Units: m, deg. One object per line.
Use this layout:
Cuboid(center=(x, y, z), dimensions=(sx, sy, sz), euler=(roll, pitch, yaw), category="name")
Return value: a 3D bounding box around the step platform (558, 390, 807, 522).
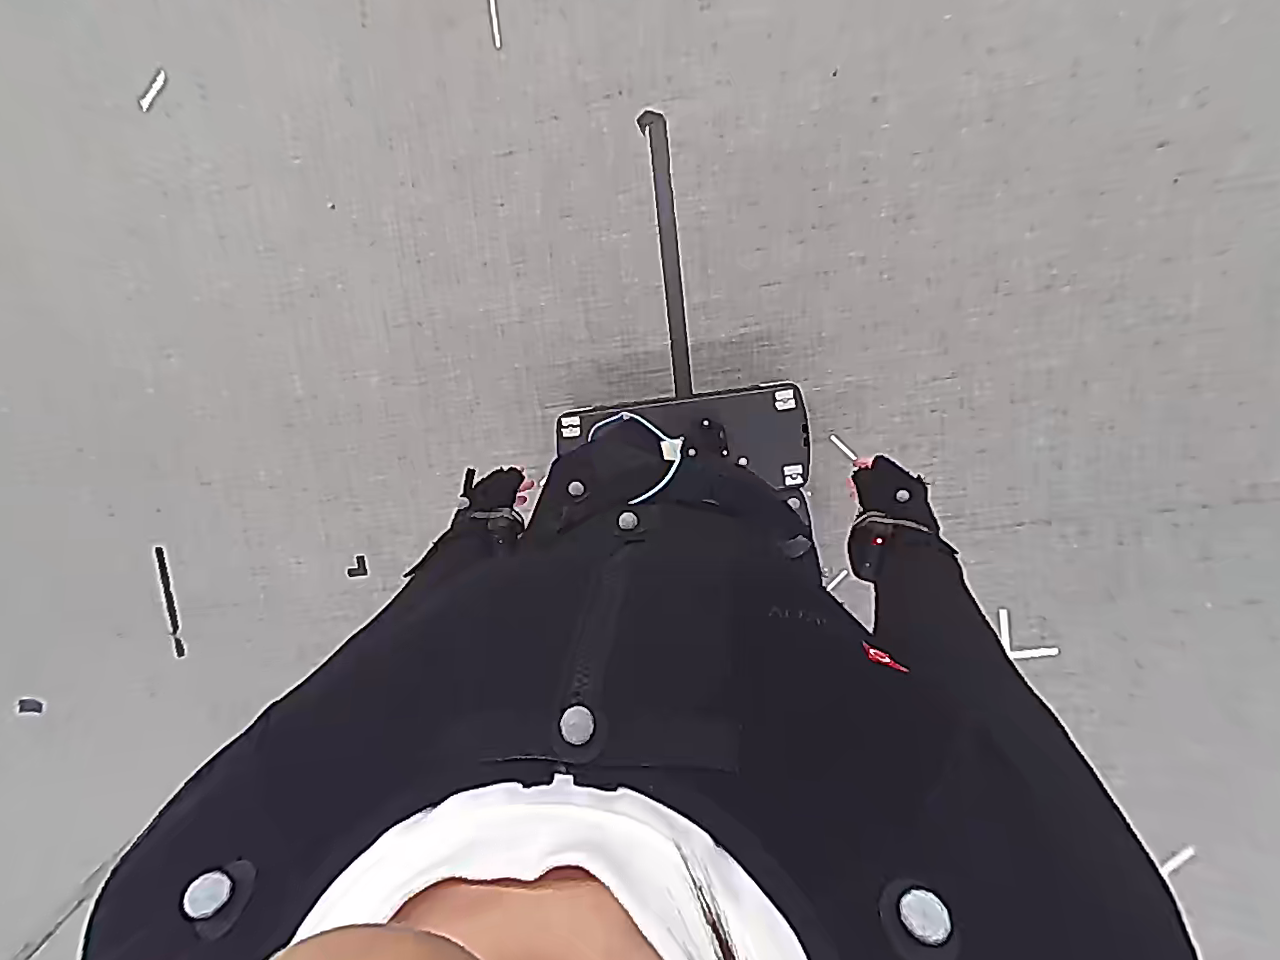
Cuboid(center=(0.112, -0.066, 1.522), dimensions=(0.684, 0.204, 0.286), euler=(-8, 98, 7), category="step platform")
